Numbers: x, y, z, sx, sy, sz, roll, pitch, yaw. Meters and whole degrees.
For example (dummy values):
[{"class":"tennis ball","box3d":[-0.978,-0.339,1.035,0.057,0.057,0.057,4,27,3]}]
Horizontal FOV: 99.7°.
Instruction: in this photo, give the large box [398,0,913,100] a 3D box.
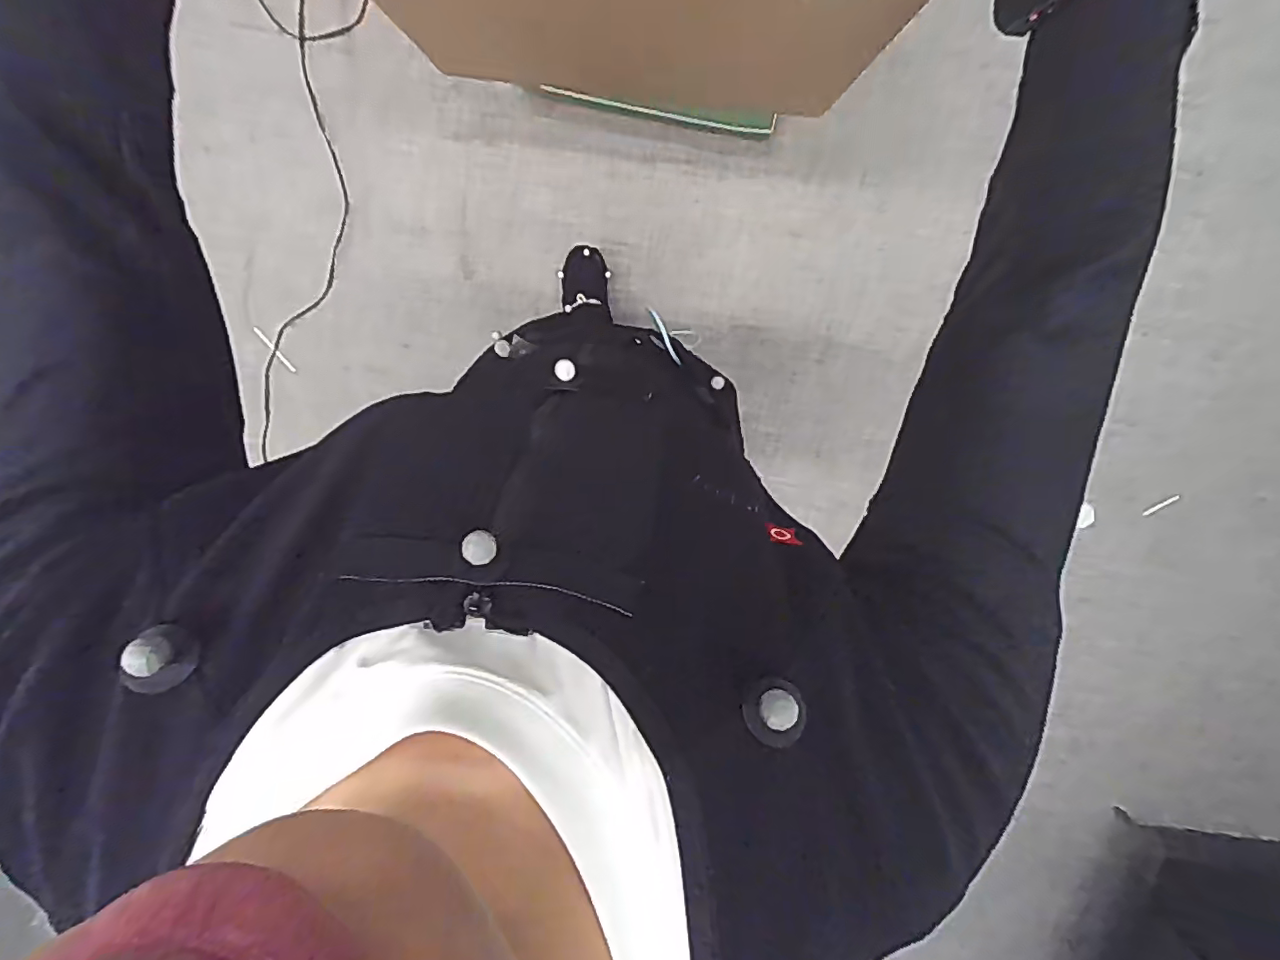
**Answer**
[{"class":"large box","box3d":[0.009,-0.508,0.377,0.408,0.320,0.320,5,110,-1]}]
